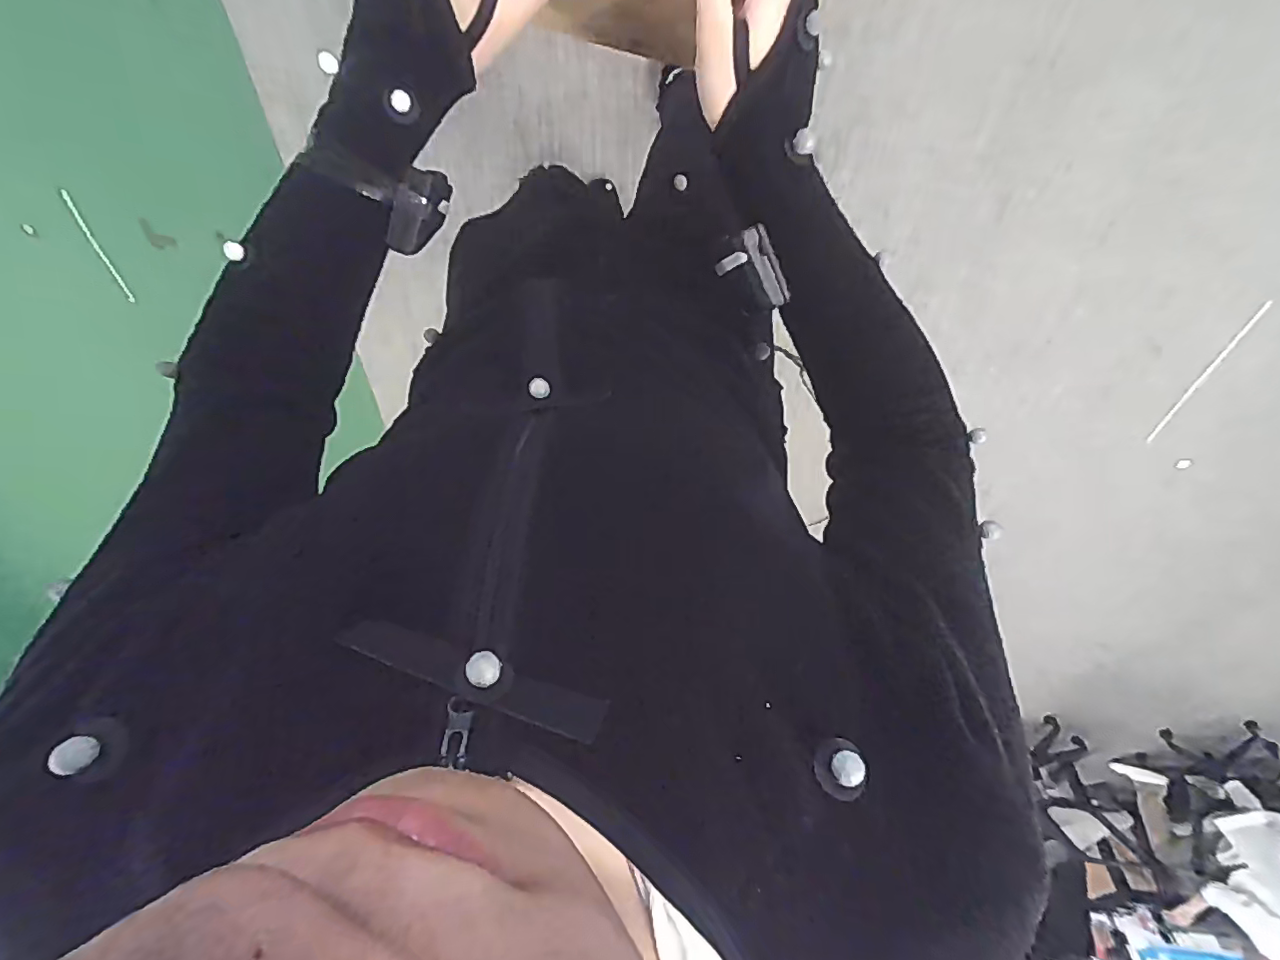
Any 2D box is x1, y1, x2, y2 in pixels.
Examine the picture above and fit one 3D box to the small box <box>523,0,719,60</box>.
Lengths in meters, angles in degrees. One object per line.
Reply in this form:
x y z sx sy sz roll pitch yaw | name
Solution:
-0.007 -0.445 0.377 0.168 0.176 0.179 10 108 -7 | small box
